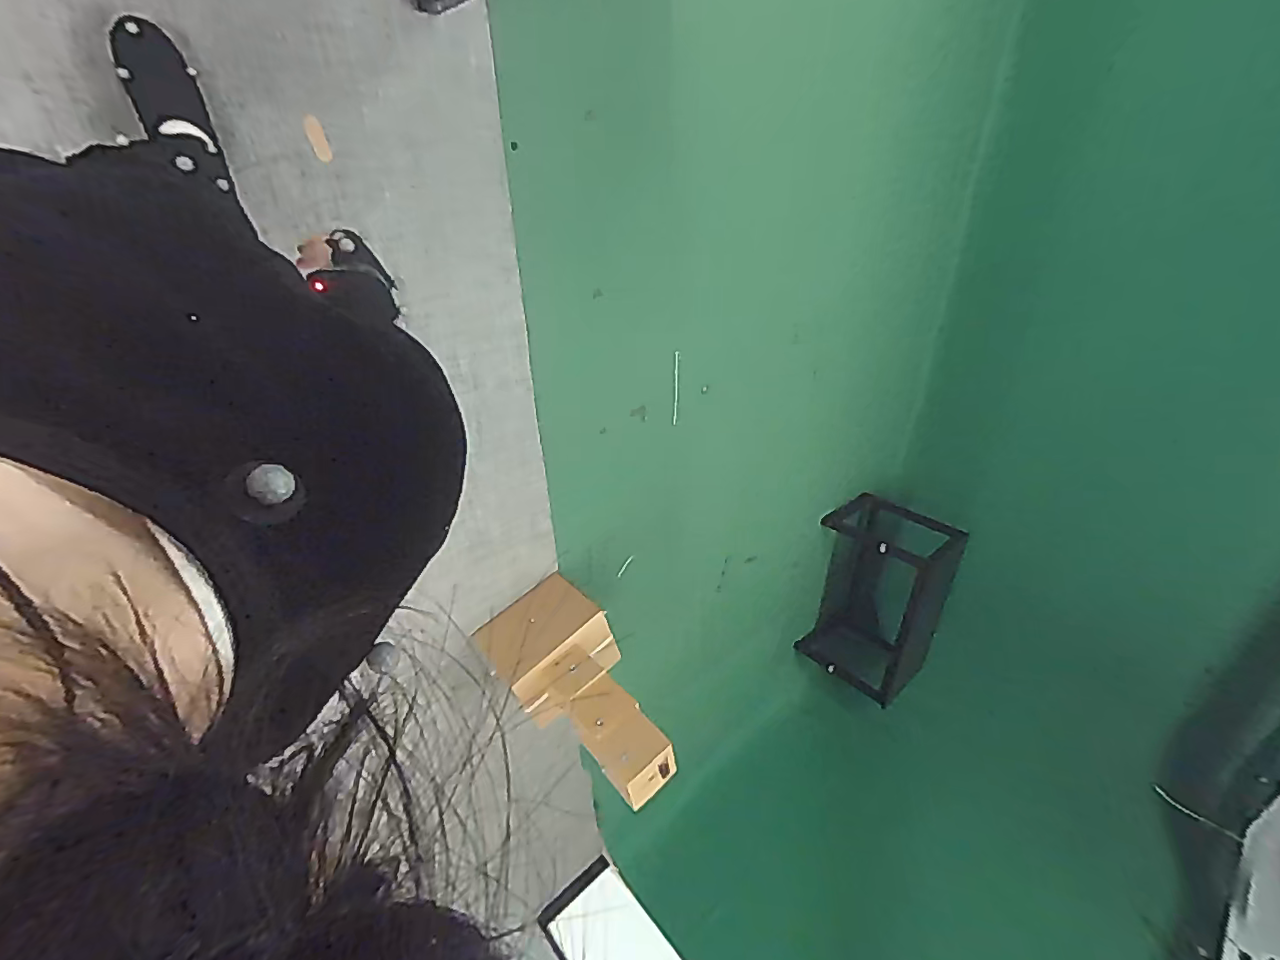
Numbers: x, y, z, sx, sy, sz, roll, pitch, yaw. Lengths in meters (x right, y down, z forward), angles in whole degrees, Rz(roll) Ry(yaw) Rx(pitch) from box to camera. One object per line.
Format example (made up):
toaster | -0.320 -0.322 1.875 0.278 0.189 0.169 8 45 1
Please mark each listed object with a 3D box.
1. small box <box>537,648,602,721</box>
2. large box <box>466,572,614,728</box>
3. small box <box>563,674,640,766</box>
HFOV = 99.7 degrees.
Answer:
small box | -0.232 0.710 1.864 0.168 0.176 0.179 -32 131 -29
large box | -0.372 0.632 2.055 0.408 0.320 0.320 -38 135 -27
small box | -0.126 0.774 1.760 0.179 0.176 0.168 -31 130 -30
